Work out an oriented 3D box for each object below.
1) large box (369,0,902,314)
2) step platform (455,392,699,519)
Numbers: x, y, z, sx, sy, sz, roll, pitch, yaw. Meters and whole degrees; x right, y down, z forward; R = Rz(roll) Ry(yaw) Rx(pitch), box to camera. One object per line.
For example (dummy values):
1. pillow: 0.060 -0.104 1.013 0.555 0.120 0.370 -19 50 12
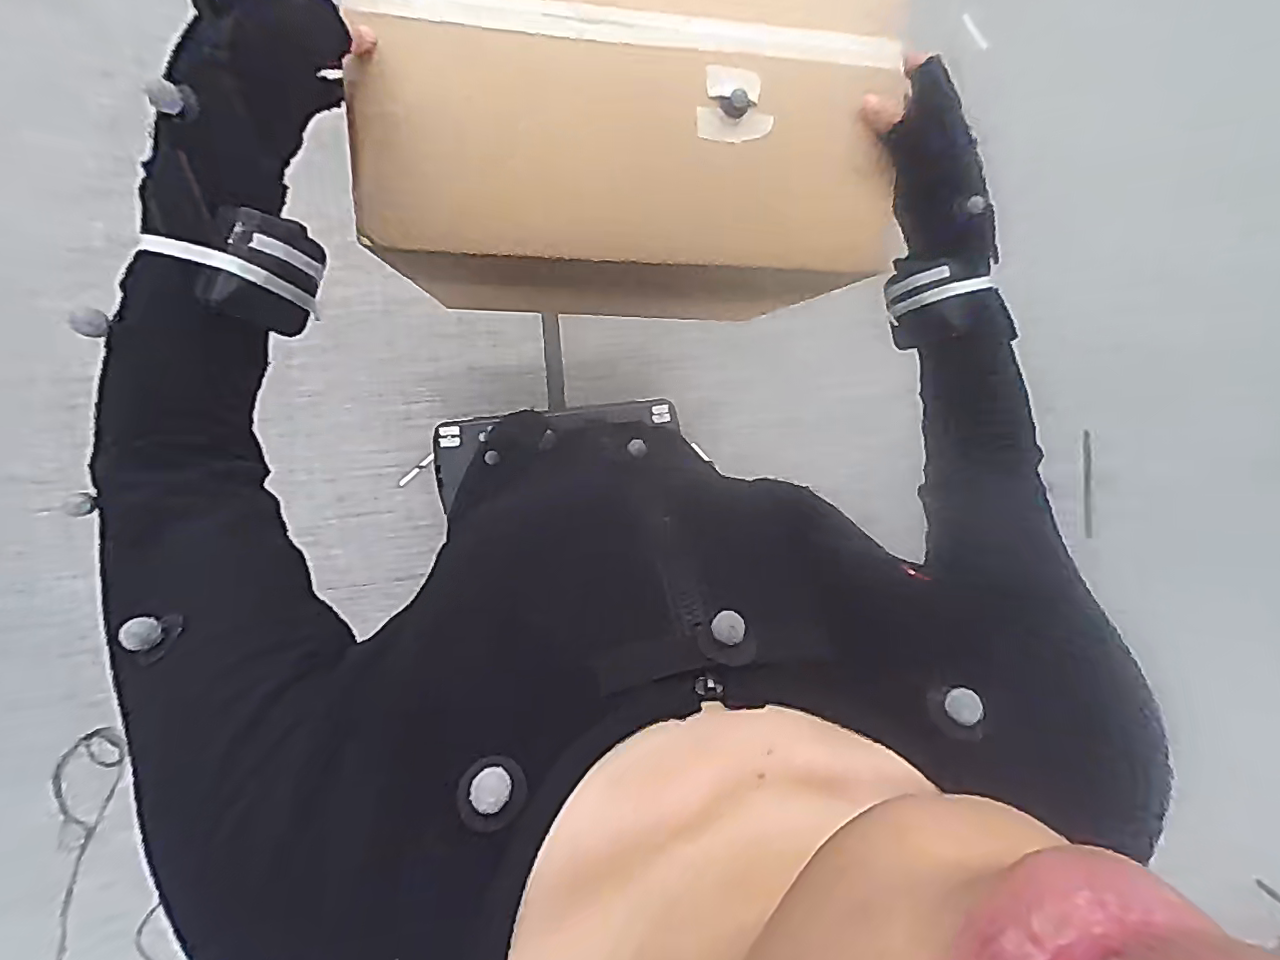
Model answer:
1. large box: -0.017 -0.352 0.547 0.408 0.320 0.320 0 100 -10
2. step platform: -0.173 -0.076 1.555 0.684 0.204 0.286 -8 96 -8
